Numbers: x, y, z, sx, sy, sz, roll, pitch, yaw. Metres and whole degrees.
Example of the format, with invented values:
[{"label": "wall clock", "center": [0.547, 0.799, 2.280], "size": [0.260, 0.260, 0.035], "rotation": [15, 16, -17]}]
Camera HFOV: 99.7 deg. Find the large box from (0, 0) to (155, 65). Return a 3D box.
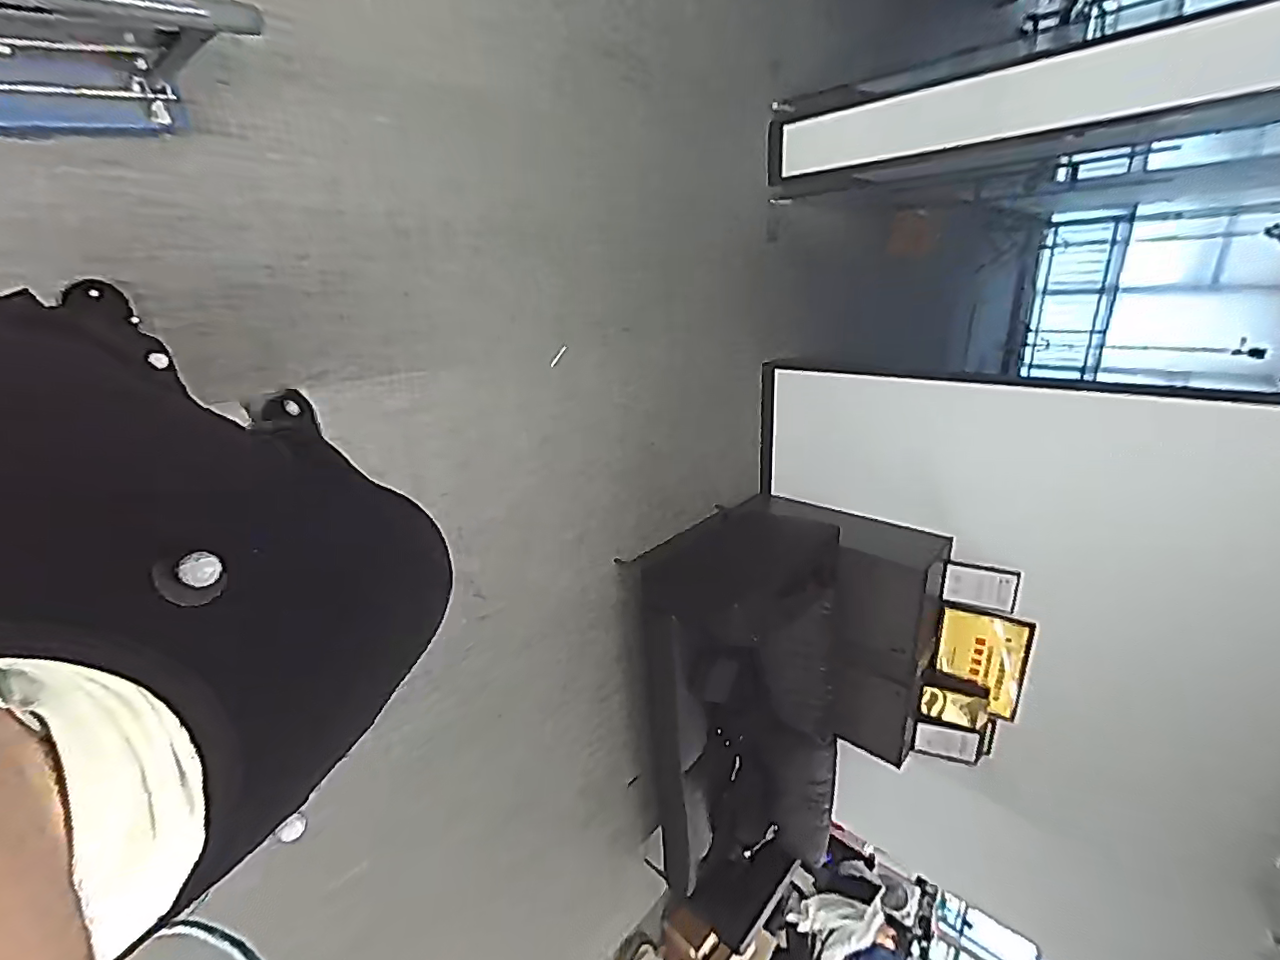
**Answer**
[{"label": "large box", "center": [-0.955, -0.846, 0.723], "size": [0.320, 0.320, 0.408], "rotation": [-31, 123, -40]}]
